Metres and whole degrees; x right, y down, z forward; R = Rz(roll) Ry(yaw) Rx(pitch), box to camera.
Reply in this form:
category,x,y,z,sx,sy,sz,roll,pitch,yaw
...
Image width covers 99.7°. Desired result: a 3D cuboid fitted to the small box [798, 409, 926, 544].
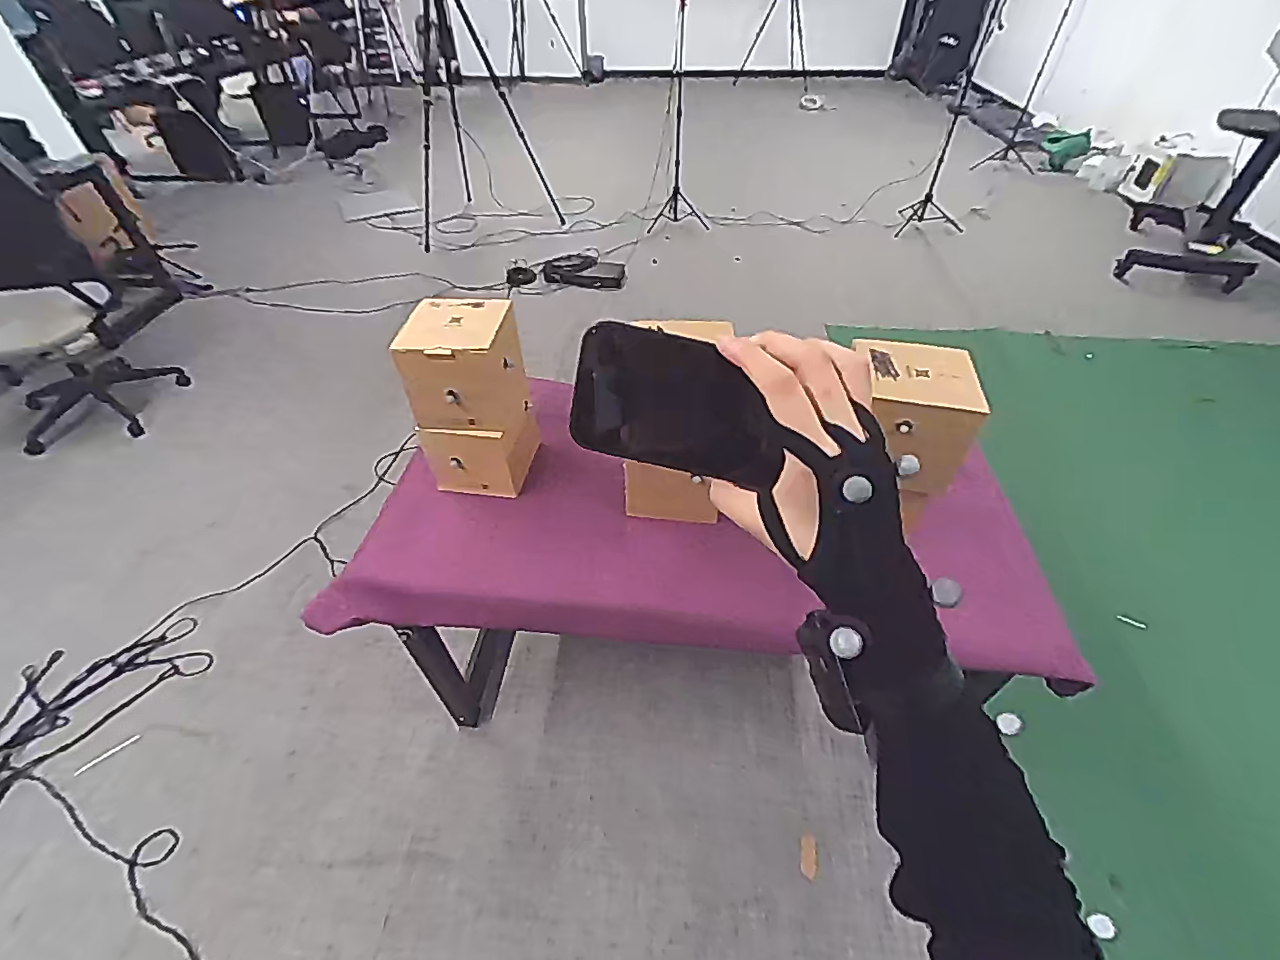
category,x,y,z,sx,sy,sz,roll,pitch,yaw
small box,0.399,-0.004,0.993,0.179,0.176,0.168,10,46,11

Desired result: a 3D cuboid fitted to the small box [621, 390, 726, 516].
category,x,y,z,sx,sy,sz,roll,pitch,yaw
small box,0.064,-0.049,1.036,0.179,0.176,0.168,6,46,6

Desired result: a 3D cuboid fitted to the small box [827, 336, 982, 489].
category,x,y,z,sx,sy,sz,roll,pitch,yaw
small box,0.405,-0.106,0.864,0.179,0.176,0.168,10,46,9

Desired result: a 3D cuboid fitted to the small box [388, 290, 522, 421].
category,x,y,z,sx,sy,sz,roll,pitch,yaw
small box,-0.319,-0.223,0.978,0.168,0.176,0.179,3,47,2

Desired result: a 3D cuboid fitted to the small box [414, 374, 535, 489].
category,x,y,z,sx,sy,sz,roll,pitch,yaw
small box,-0.319,-0.102,1.090,0.168,0.176,0.179,6,46,6
